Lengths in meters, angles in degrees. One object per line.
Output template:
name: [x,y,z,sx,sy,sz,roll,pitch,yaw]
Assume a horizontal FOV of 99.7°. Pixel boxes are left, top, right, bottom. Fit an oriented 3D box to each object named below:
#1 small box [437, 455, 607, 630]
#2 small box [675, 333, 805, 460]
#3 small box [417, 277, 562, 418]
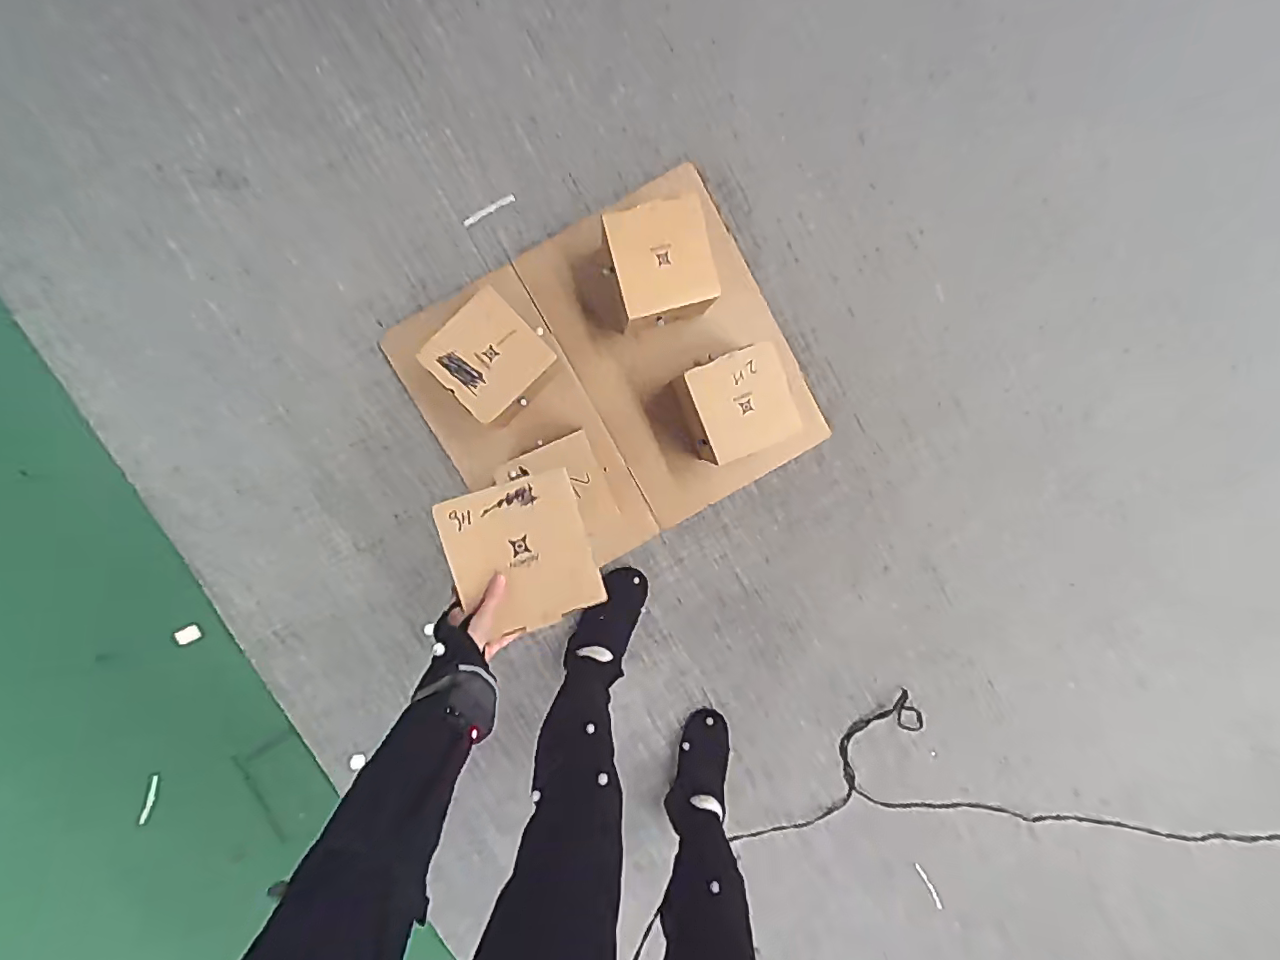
small box: [-0.152,0.075,0.726,0.168,0.176,0.179,-18,91,-10]
small box: [0.176,-0.150,0.999,0.168,0.176,0.179,-22,96,-1]
small box: [-0.255,-0.224,0.972,0.179,0.176,0.168,-43,97,1]
